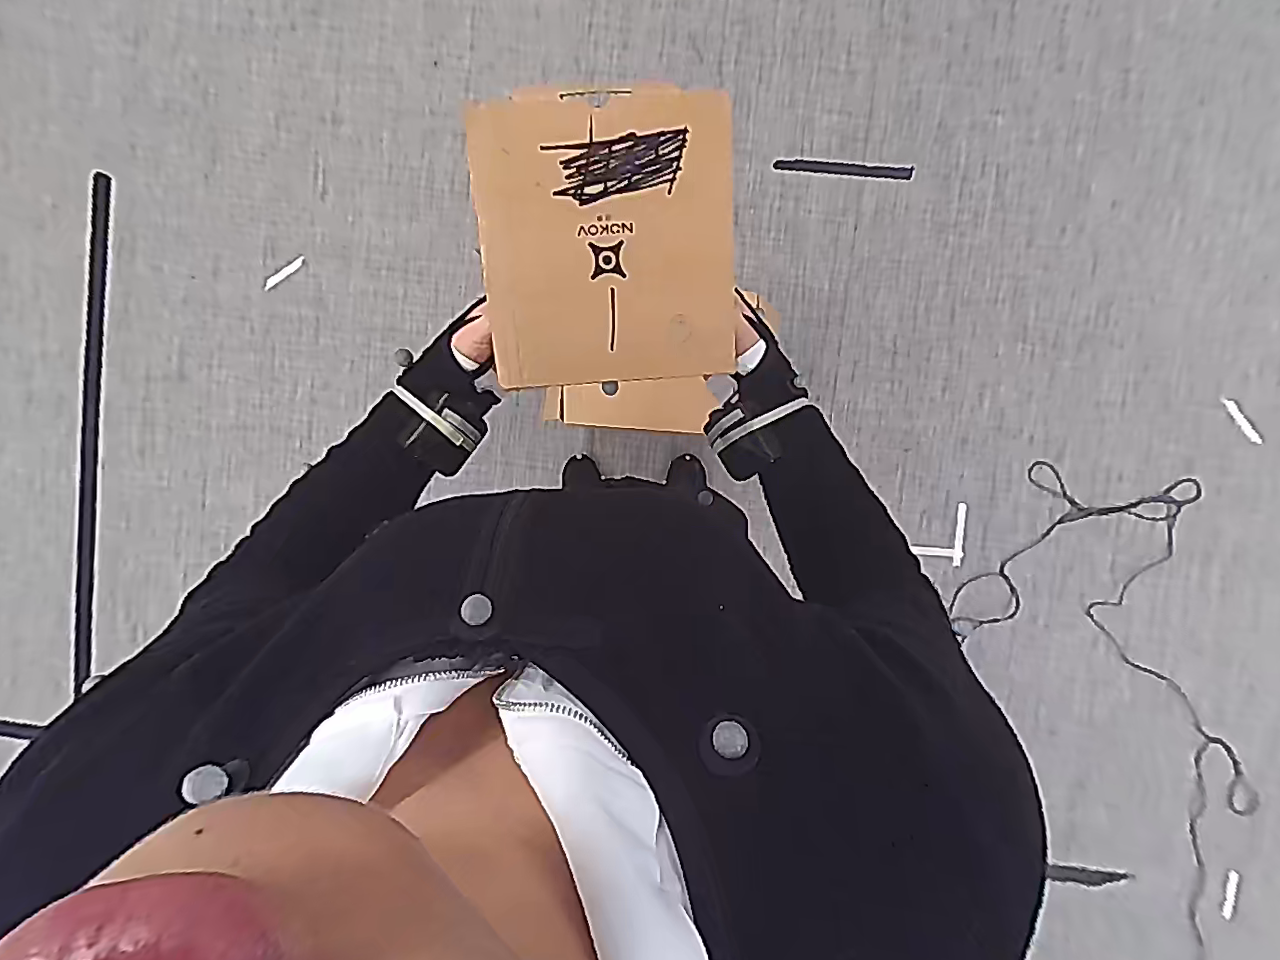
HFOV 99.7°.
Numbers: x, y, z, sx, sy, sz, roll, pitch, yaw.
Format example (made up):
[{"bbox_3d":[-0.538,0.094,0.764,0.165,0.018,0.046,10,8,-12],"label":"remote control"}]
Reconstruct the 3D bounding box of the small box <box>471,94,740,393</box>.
[{"bbox_3d":[-0.023,-0.165,0.423,0.168,0.176,0.179,-4,104,-3],"label":"small box"}]
